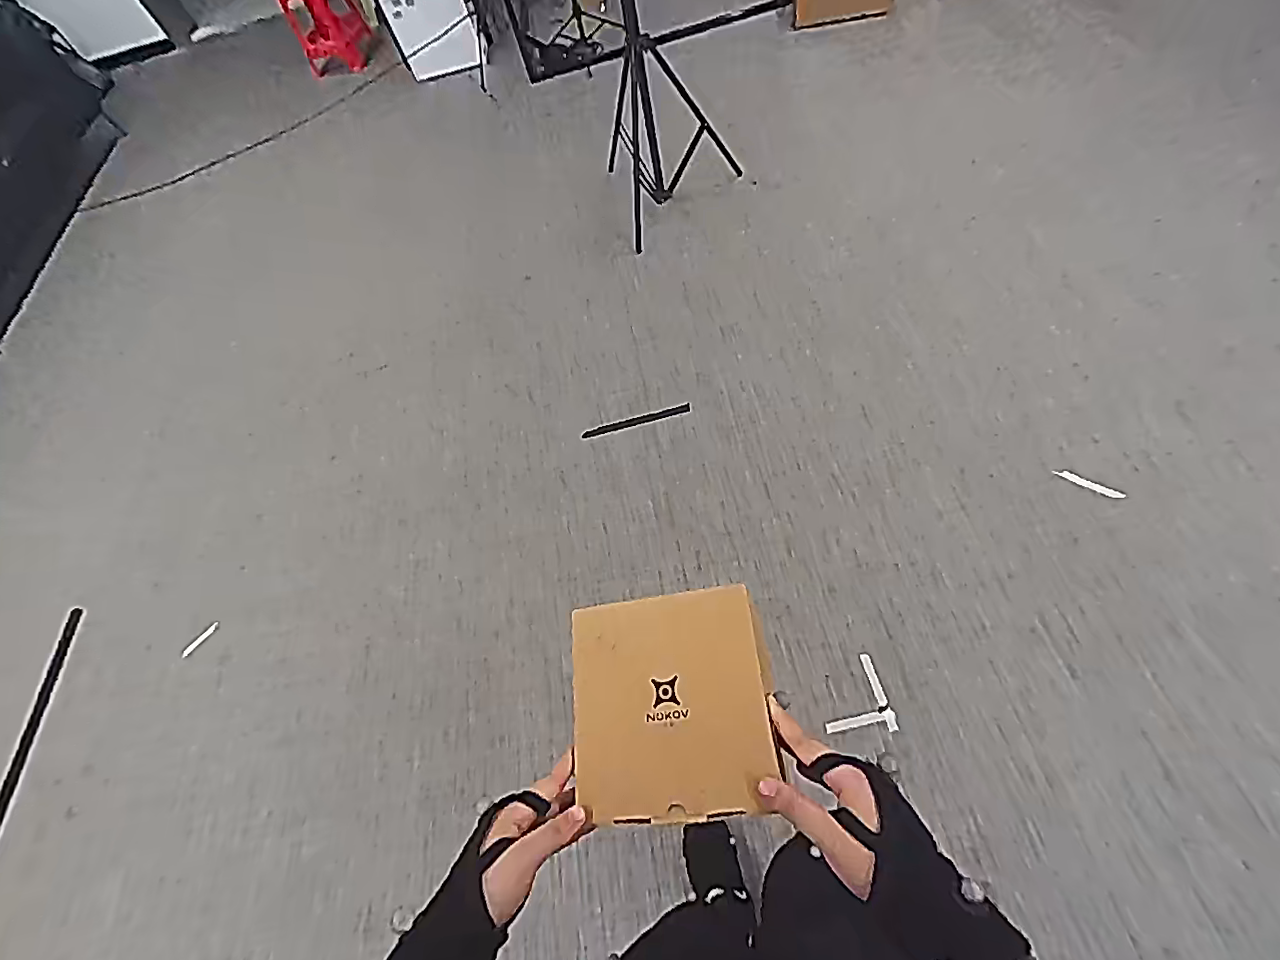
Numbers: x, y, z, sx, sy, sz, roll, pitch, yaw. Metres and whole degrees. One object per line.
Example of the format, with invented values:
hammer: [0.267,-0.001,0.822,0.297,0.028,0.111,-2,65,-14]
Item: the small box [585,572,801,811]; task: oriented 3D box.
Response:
small box: [0.052,0.207,0.520,0.168,0.176,0.179,-12,61,11]
